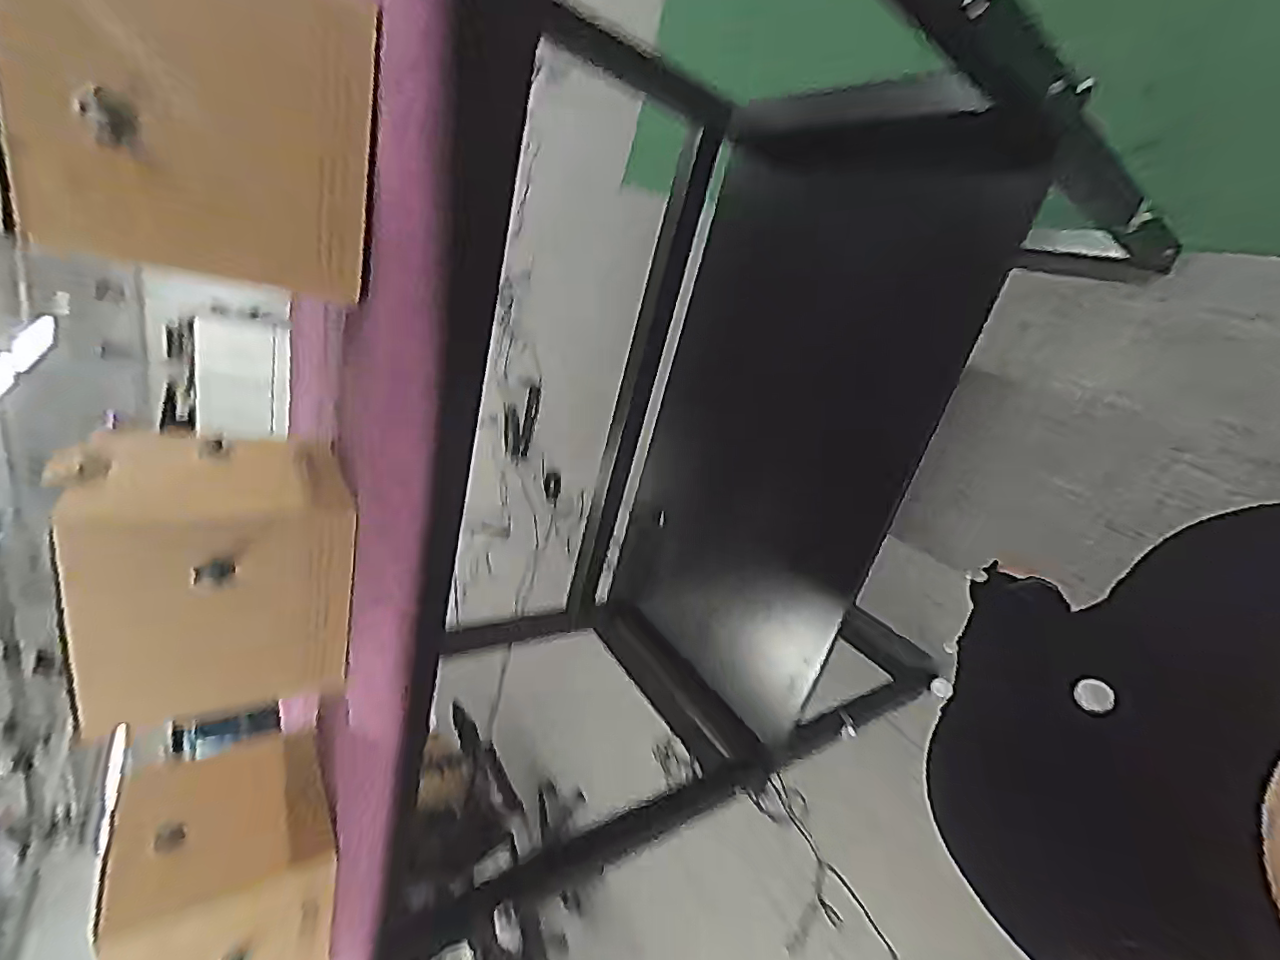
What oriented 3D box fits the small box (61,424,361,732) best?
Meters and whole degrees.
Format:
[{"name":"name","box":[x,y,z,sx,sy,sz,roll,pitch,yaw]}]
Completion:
[{"name":"small box","box":[-0.340,0.064,0.453,0.168,0.176,0.179,35,119,47]}]

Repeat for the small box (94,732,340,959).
[{"name":"small box","box":[-0.409,0.388,0.539,0.179,0.176,0.168,33,115,47]}]

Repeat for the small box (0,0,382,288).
[{"name":"small box","box":[-0.279,-0.242,0.364,0.168,0.176,0.179,40,121,47]}]
